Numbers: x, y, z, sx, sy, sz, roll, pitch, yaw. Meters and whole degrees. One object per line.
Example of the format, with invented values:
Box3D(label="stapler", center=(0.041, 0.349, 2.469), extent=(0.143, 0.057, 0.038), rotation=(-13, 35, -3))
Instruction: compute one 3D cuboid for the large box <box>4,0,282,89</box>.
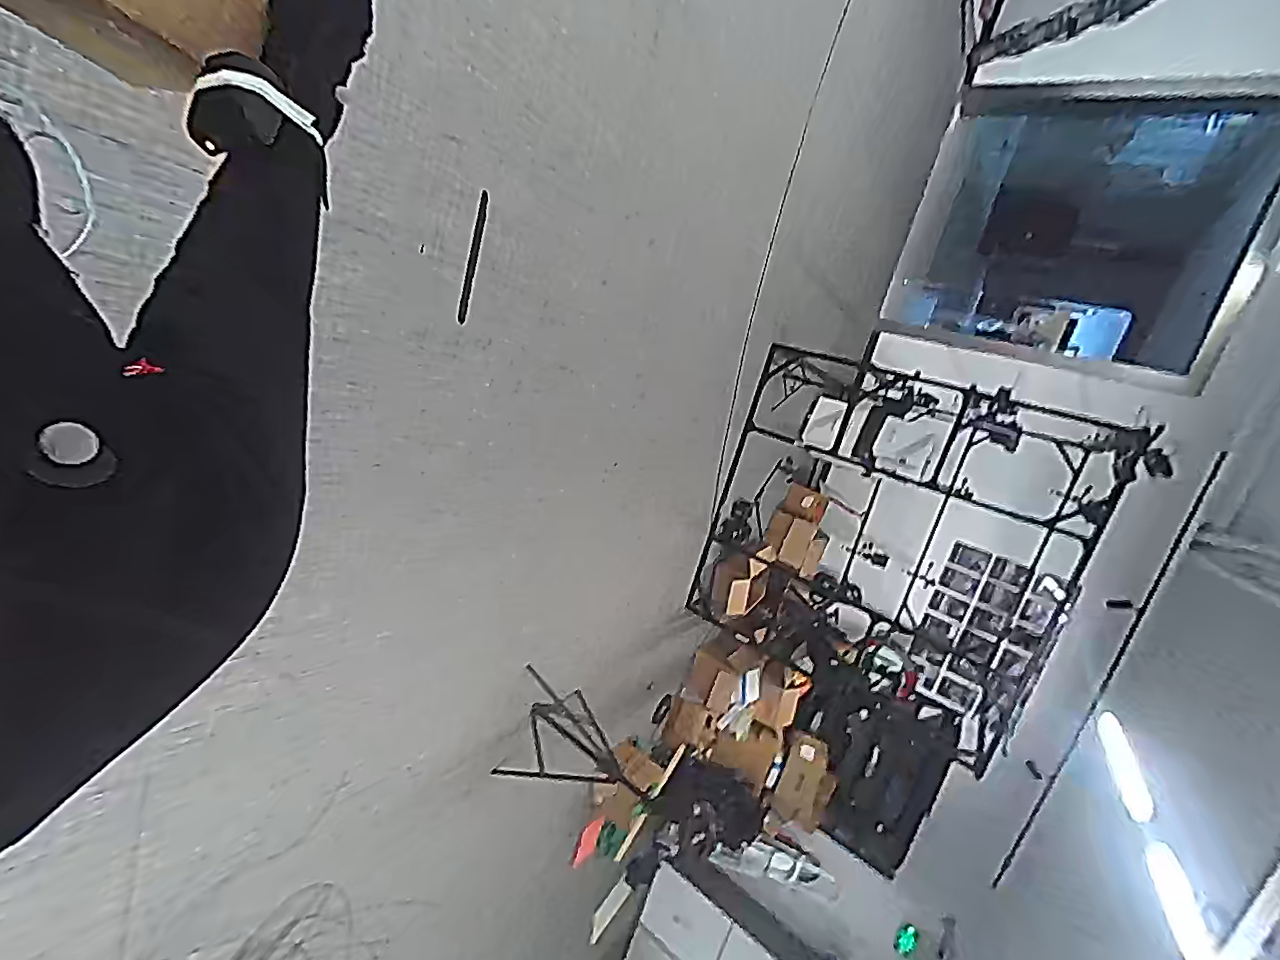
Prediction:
Box3D(label="large box", center=(-0.484, -0.554, 0.350), extent=(0.408, 0.320, 0.320), rotation=(17, 100, -61))
